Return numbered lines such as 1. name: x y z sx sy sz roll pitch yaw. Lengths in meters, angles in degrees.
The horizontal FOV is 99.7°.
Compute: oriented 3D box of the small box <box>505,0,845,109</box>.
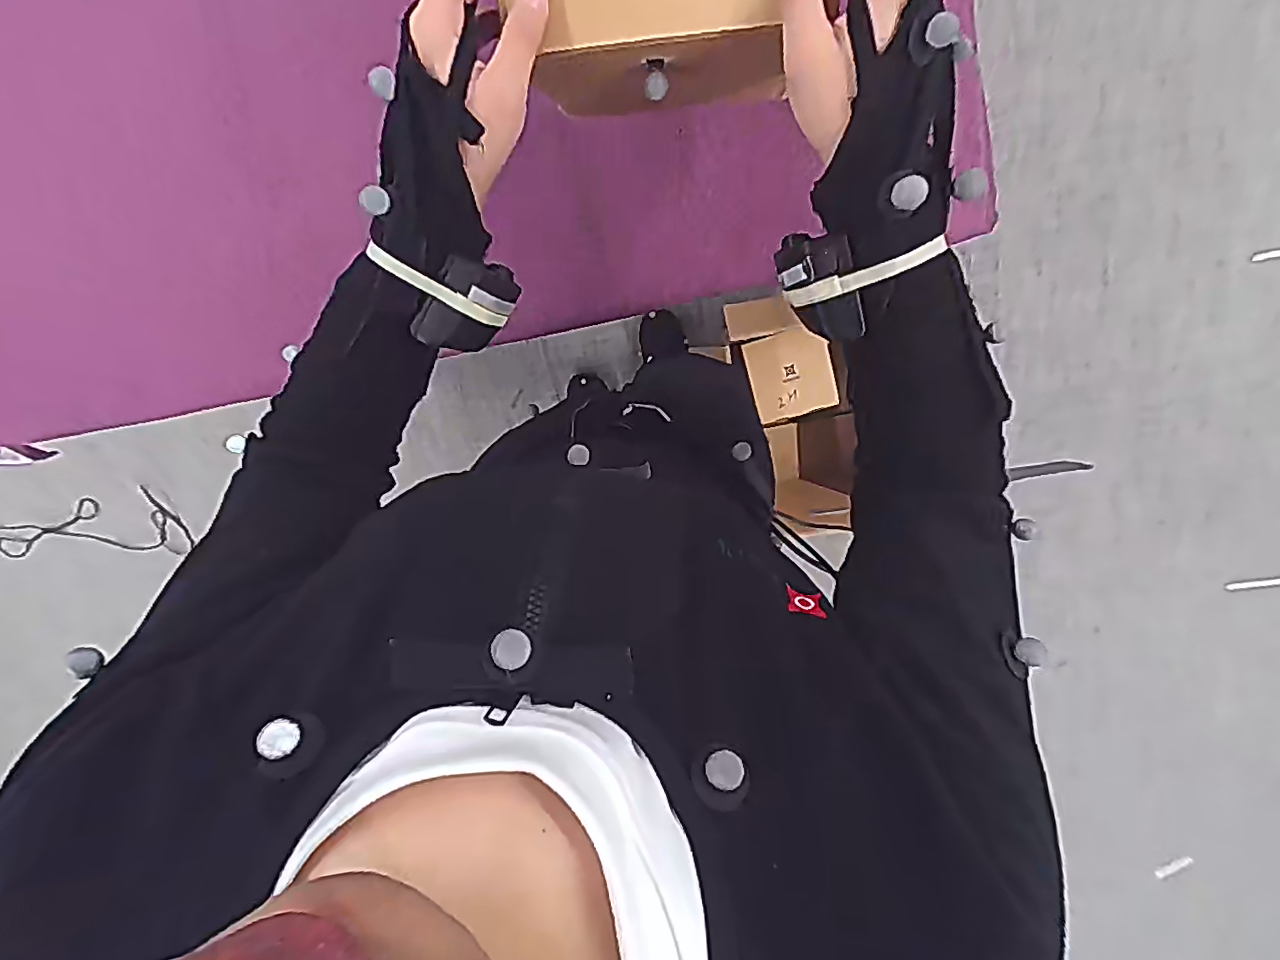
1. small box: 0.020 -0.338 0.320 0.179 0.176 0.168 -1 114 8
